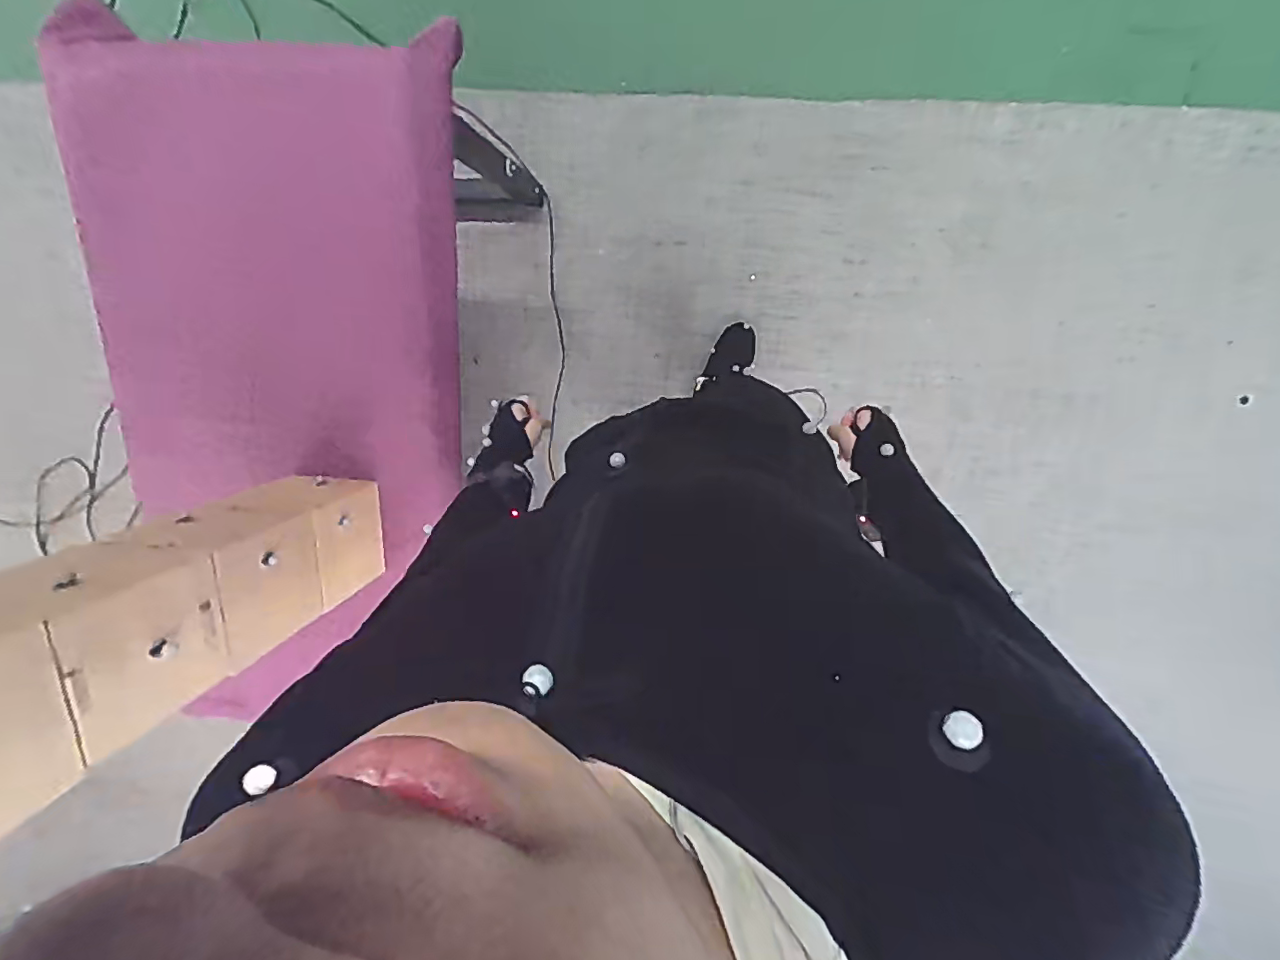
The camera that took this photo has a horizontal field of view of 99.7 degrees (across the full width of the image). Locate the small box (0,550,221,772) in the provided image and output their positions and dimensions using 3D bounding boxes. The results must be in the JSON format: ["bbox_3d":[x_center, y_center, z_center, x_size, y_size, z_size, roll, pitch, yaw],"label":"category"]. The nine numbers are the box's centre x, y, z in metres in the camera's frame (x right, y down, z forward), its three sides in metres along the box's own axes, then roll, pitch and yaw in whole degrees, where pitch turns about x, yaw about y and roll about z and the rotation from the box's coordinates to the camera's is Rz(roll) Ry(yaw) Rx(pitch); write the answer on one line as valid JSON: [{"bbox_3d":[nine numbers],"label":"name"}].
[{"bbox_3d":[-0.609,0.185,0.599,0.179,0.176,0.168,3,104,7],"label":"small box"}]

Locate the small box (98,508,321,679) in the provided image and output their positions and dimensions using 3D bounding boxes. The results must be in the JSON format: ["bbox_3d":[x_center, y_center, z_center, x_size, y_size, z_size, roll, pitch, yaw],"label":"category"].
[{"bbox_3d":[-0.580,0.146,0.754,0.168,0.176,0.179,4,105,7],"label":"small box"}]

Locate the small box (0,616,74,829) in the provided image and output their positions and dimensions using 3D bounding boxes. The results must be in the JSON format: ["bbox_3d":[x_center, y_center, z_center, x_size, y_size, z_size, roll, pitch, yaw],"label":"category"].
[{"bbox_3d":[-0.628,0.224,0.440,0.168,0.176,0.179,3,103,8],"label":"small box"}]
